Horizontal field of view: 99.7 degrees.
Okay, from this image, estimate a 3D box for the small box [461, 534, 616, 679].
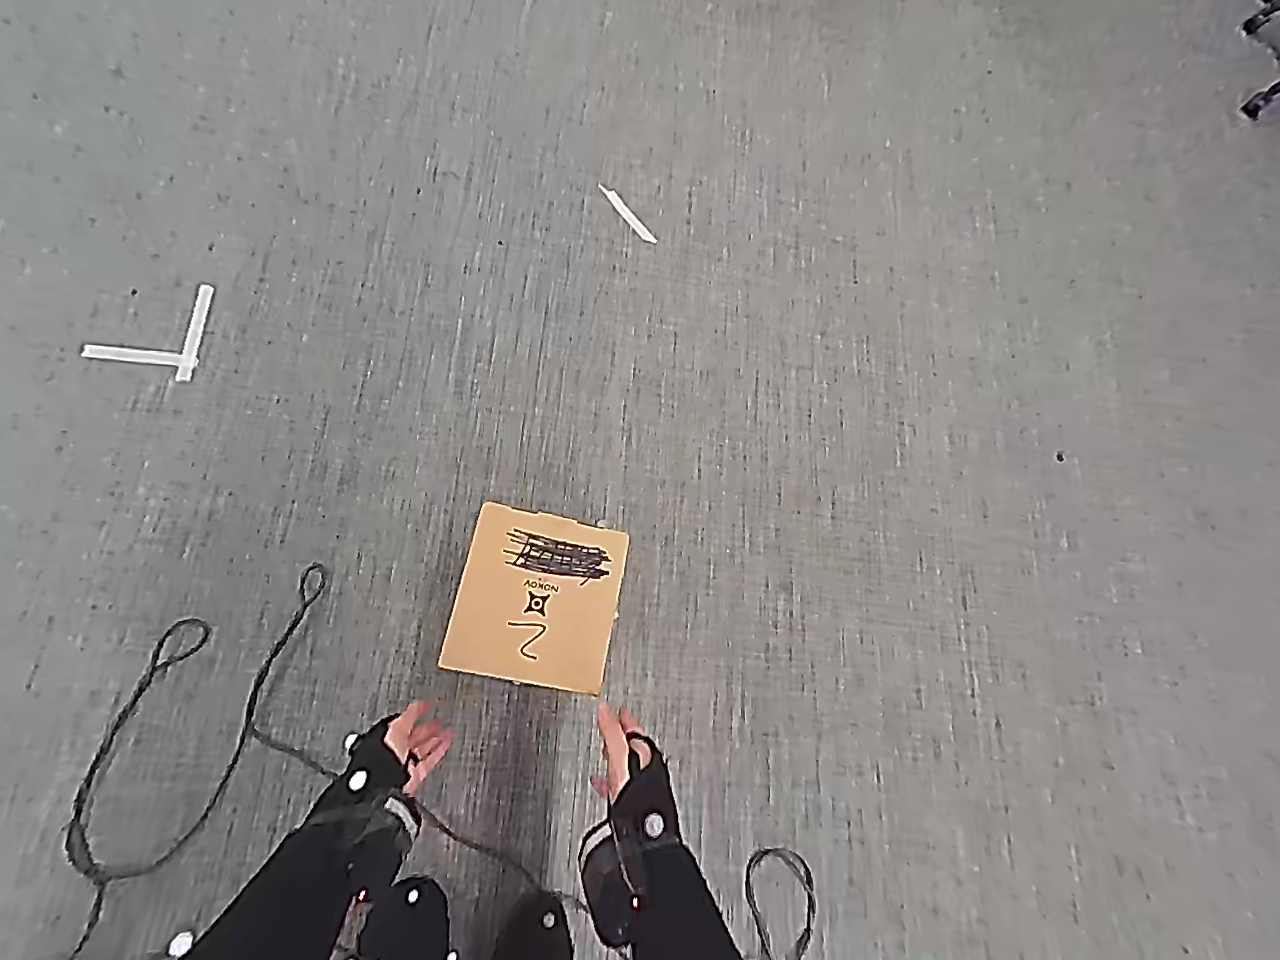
[{"bbox_3d":[-0.145,0.189,0.797,0.179,0.176,0.168,12,73,-7],"label":"small box"}]
